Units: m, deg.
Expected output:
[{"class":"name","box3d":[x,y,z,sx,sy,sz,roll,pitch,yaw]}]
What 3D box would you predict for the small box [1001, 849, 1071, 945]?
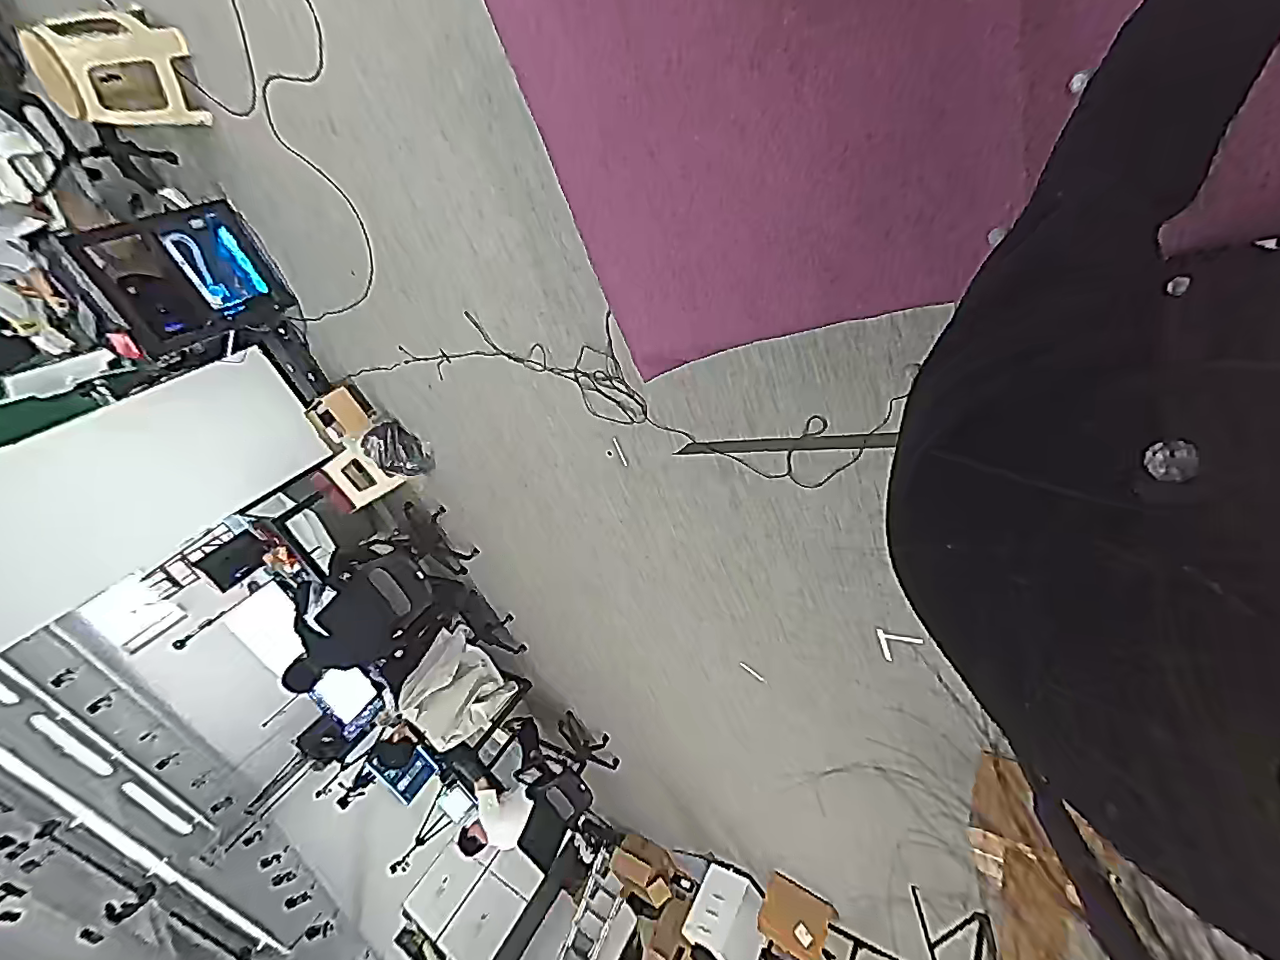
[{"class":"small box","box3d":[1.331,1.386,1.812,0.179,0.176,0.168,-1,123,42]}]
